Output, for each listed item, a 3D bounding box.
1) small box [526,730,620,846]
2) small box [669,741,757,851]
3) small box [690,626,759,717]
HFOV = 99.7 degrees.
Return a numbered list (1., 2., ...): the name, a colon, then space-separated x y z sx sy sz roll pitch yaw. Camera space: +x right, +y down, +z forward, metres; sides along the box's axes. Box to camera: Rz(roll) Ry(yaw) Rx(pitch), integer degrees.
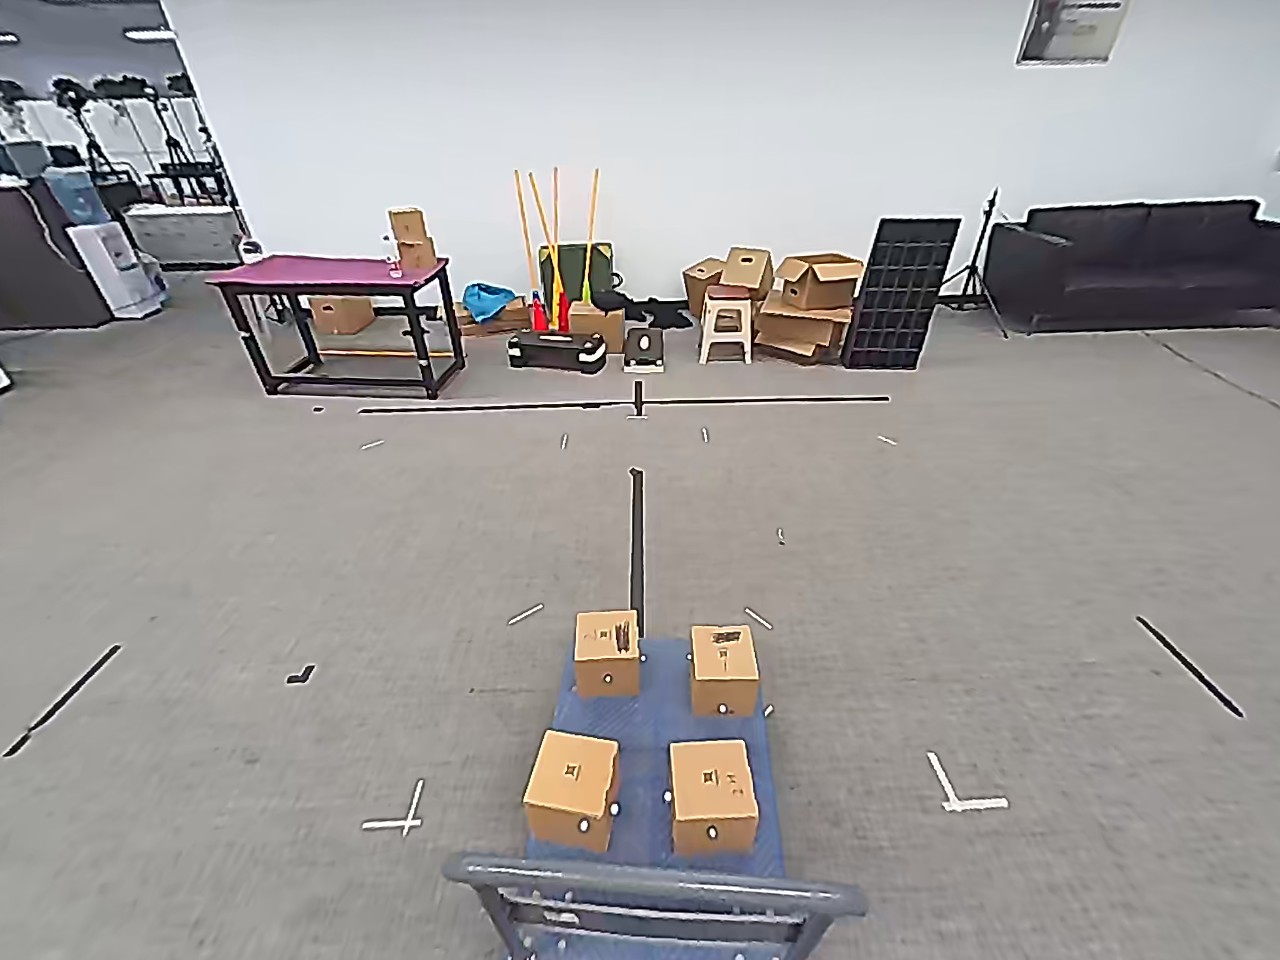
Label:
1. small box: -0.147 0.712 1.249 0.179 0.176 0.168 6 35 8
2. small box: 0.158 0.720 1.231 0.179 0.176 0.168 -1 35 -1
3. small box: 0.228 0.530 1.502 0.168 0.176 0.179 0 36 2
